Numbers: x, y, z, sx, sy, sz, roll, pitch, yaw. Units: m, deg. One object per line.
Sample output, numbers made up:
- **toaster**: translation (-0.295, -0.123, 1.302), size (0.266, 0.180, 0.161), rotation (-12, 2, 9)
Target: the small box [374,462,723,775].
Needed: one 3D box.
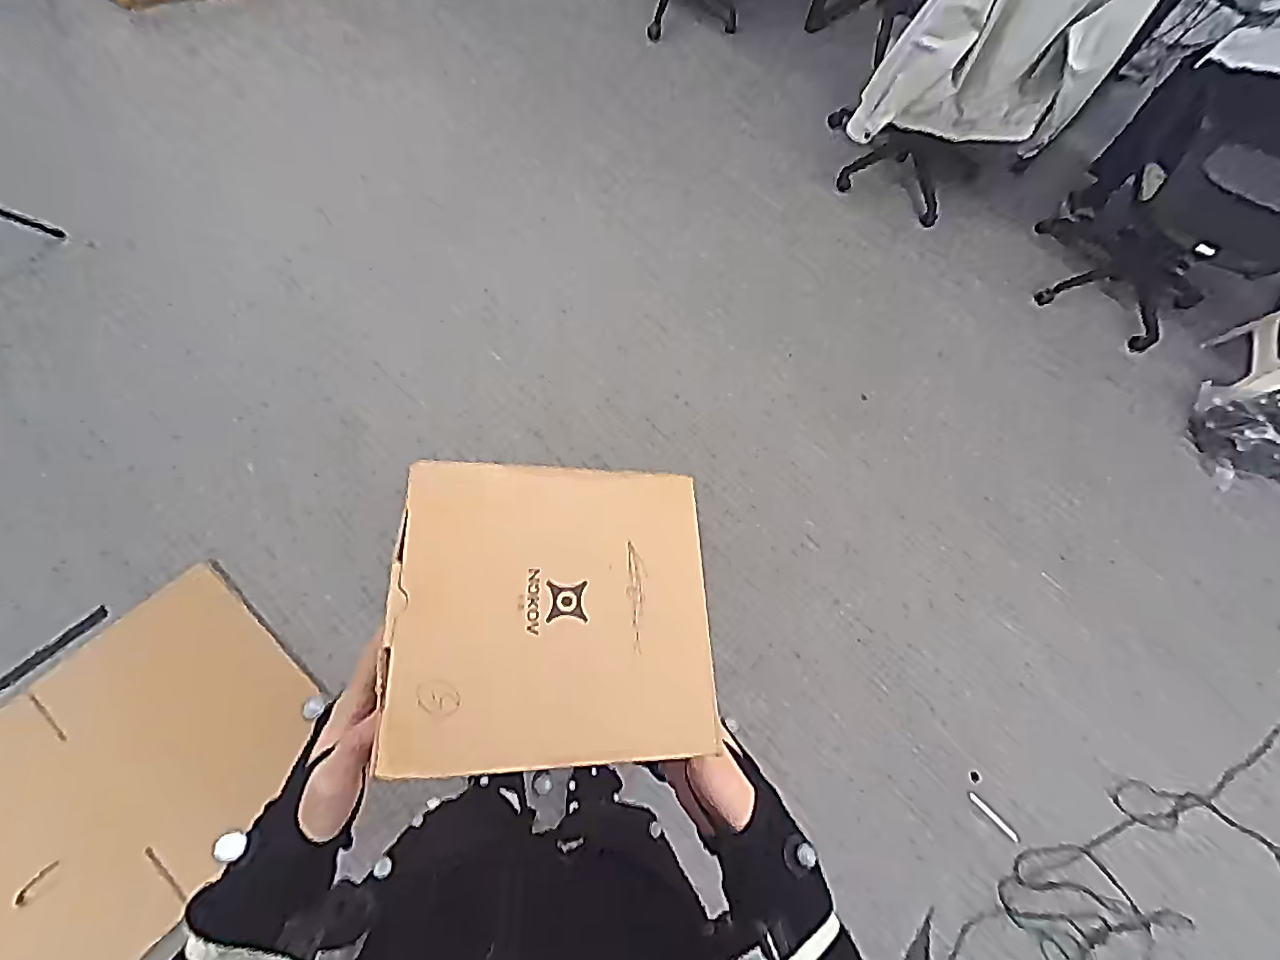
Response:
- **small box**: translation (-0.063, 0.100, 0.371), size (0.179, 0.176, 0.168), rotation (2, 66, -15)
